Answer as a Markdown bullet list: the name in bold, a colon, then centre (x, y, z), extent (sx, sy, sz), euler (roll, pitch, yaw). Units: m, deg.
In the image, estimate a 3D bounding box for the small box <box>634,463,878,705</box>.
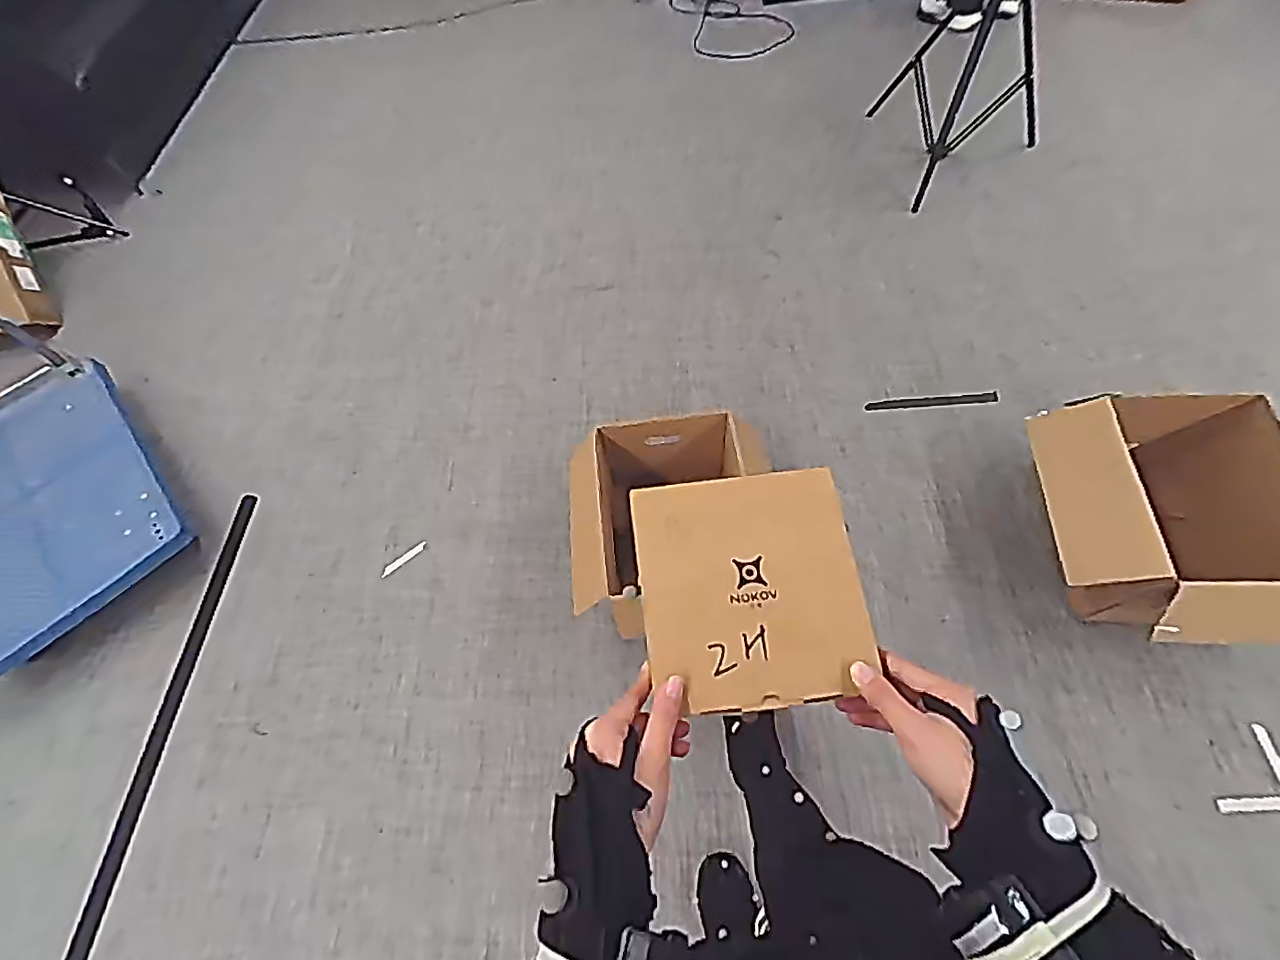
- **small box**: centre (0.084, 0.102, 0.490), extent (0.168, 0.176, 0.179), euler (-6, 70, -1)
